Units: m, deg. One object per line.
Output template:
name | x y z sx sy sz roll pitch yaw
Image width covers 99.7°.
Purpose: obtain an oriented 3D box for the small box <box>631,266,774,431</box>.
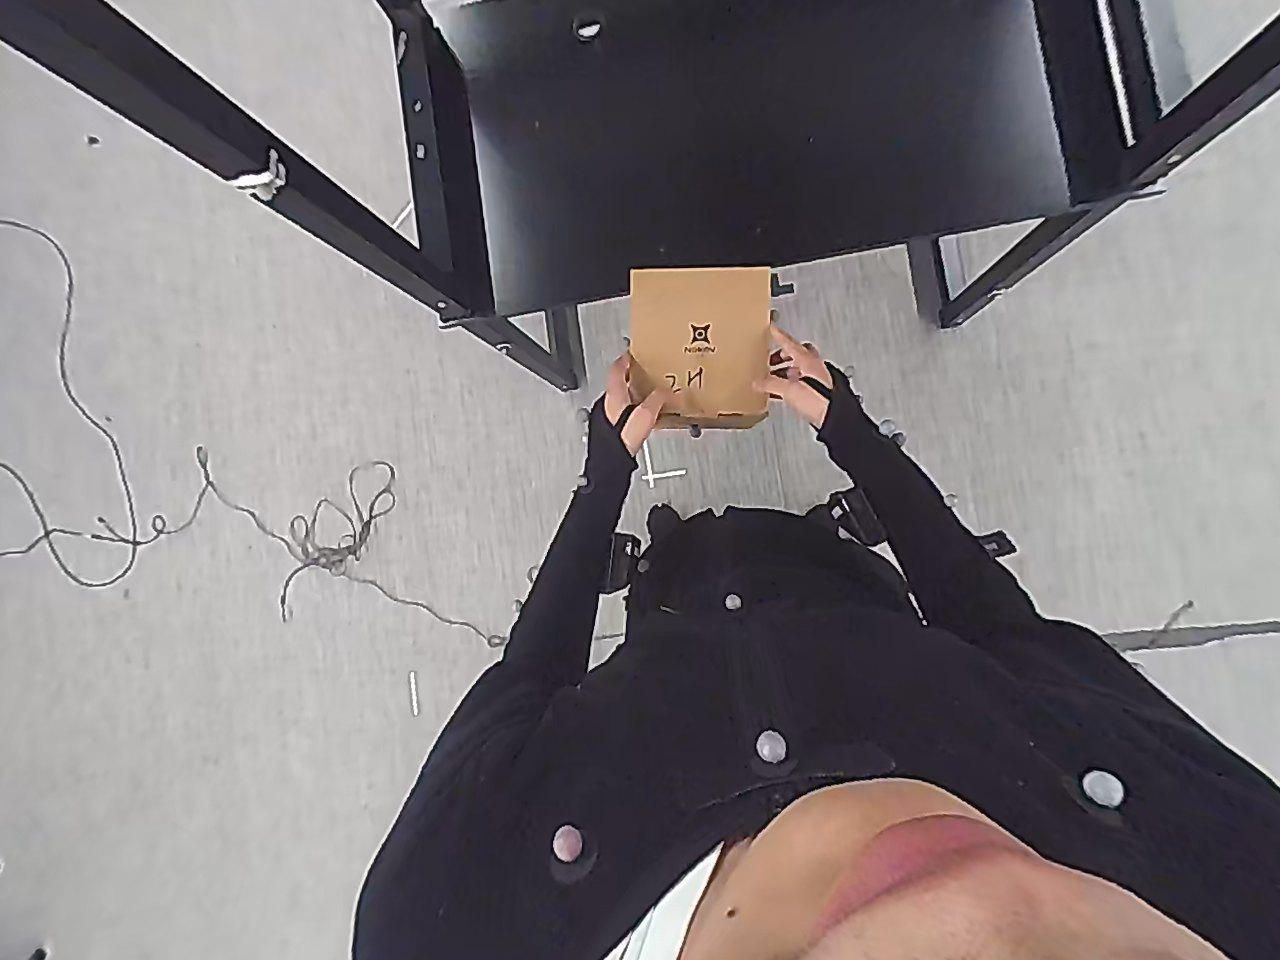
small box | 0.078 -0.162 0.709 0.168 0.176 0.179 1 90 5
